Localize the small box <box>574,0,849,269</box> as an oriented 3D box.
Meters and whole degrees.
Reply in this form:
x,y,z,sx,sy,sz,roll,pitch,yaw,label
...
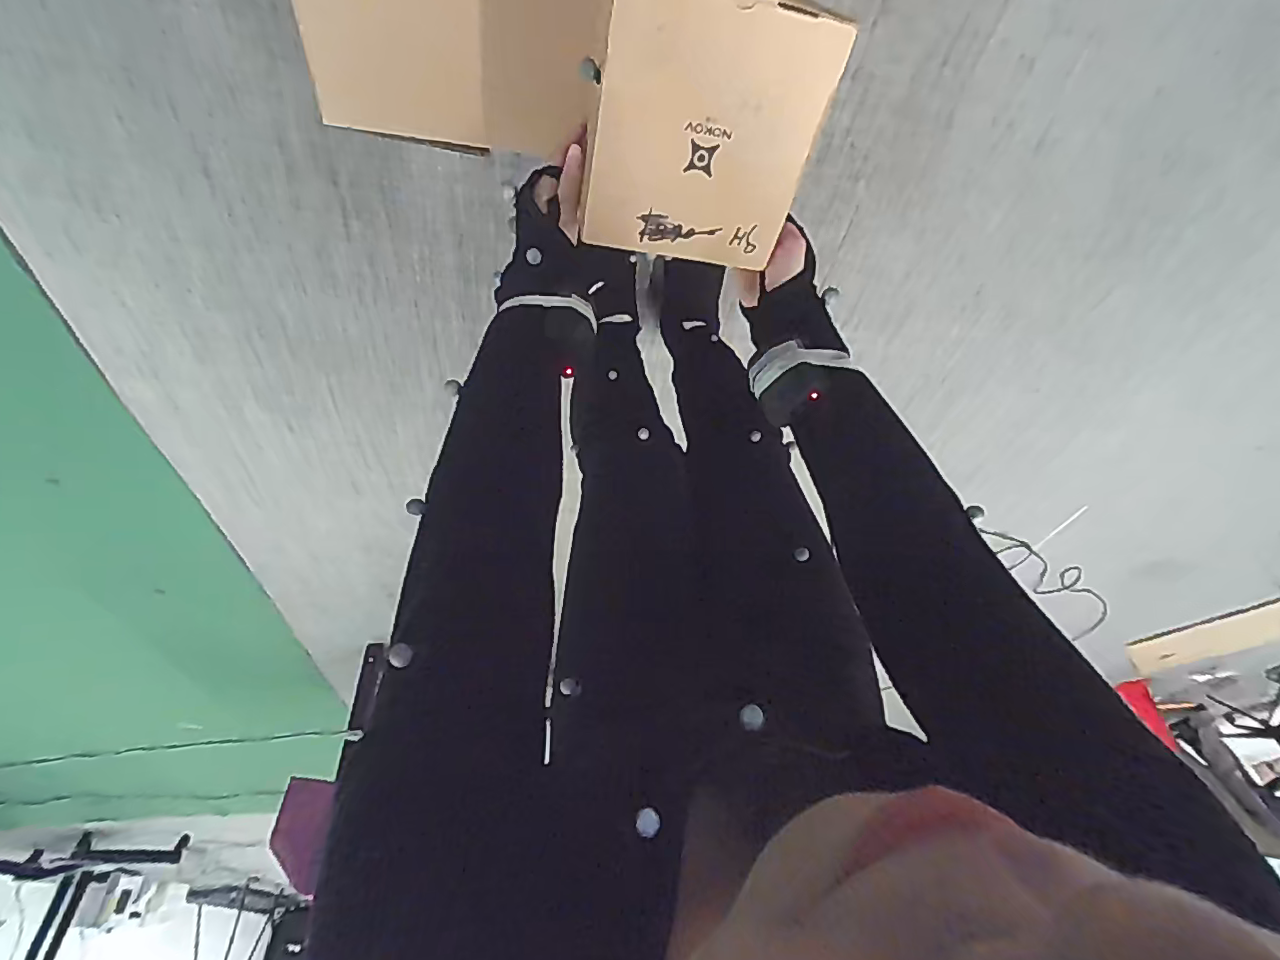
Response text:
x,y,z,sx,sy,sz,roll,pitch,yaw,label
0.036,-0.310,0.457,0.168,0.176,0.179,4,137,-13,small box
